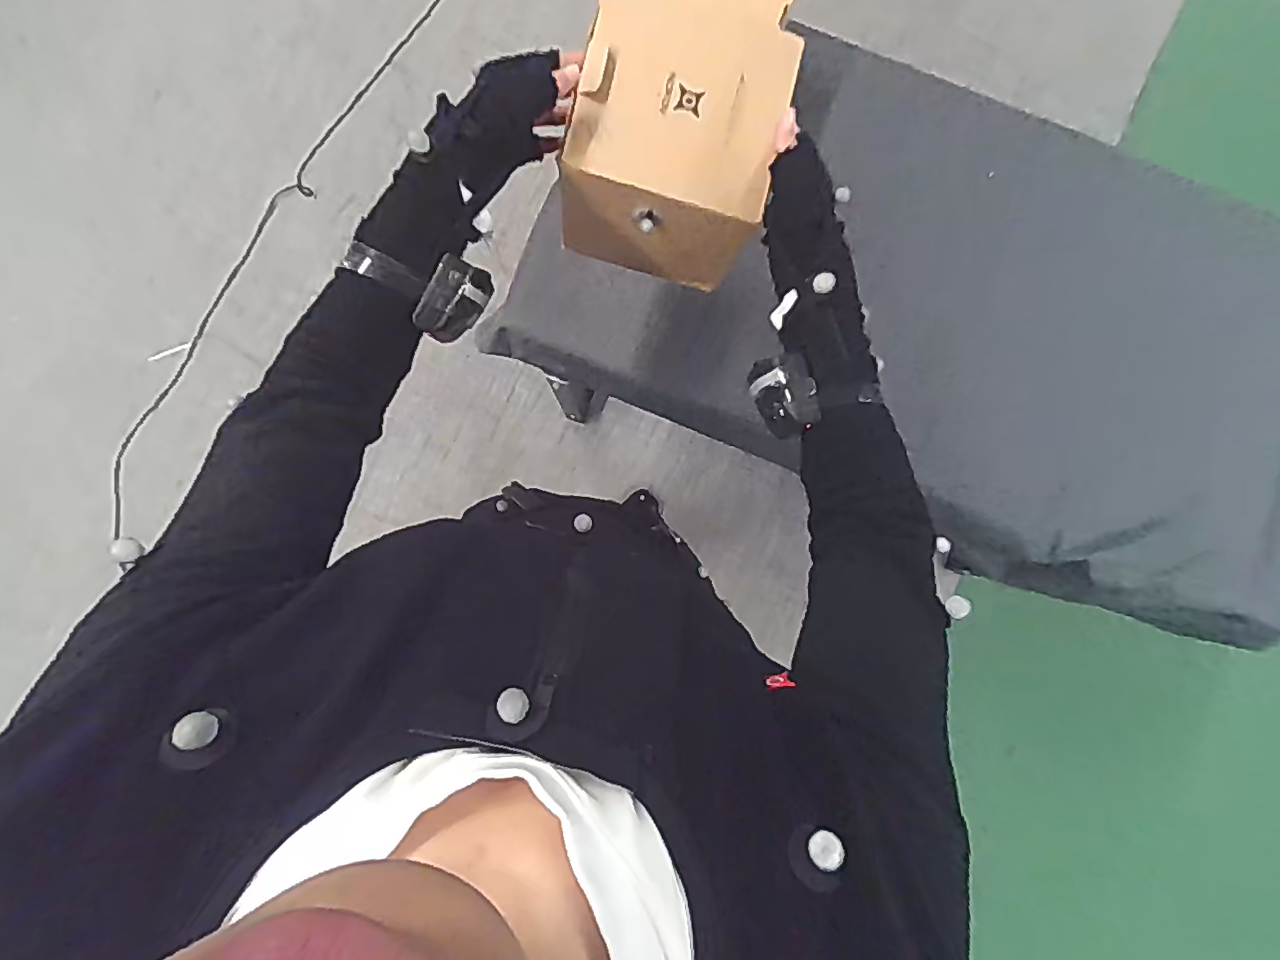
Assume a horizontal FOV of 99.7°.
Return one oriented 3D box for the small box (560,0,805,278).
[{"bbox_3d":[0.027,-0.317,0.521,0.179,0.176,0.168,13,89,-8],"label":"small box"}]
